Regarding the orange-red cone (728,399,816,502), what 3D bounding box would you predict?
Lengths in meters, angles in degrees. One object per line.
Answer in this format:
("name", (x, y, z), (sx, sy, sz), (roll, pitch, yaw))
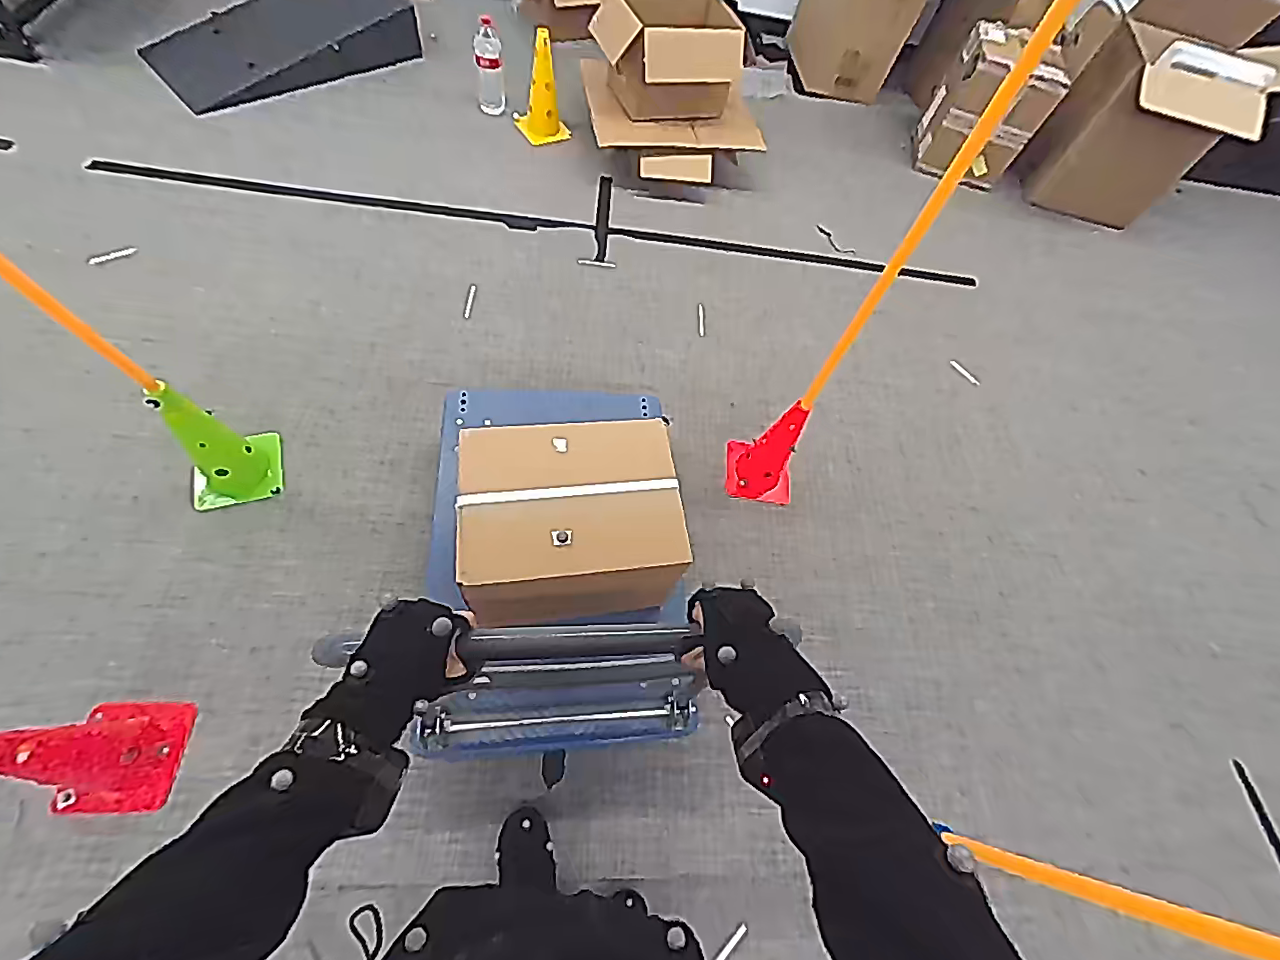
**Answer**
("orange-red cone", (0.397, -0.110, 1.505), (0.199, 0.360, 0.198), (11, 61, -5))
